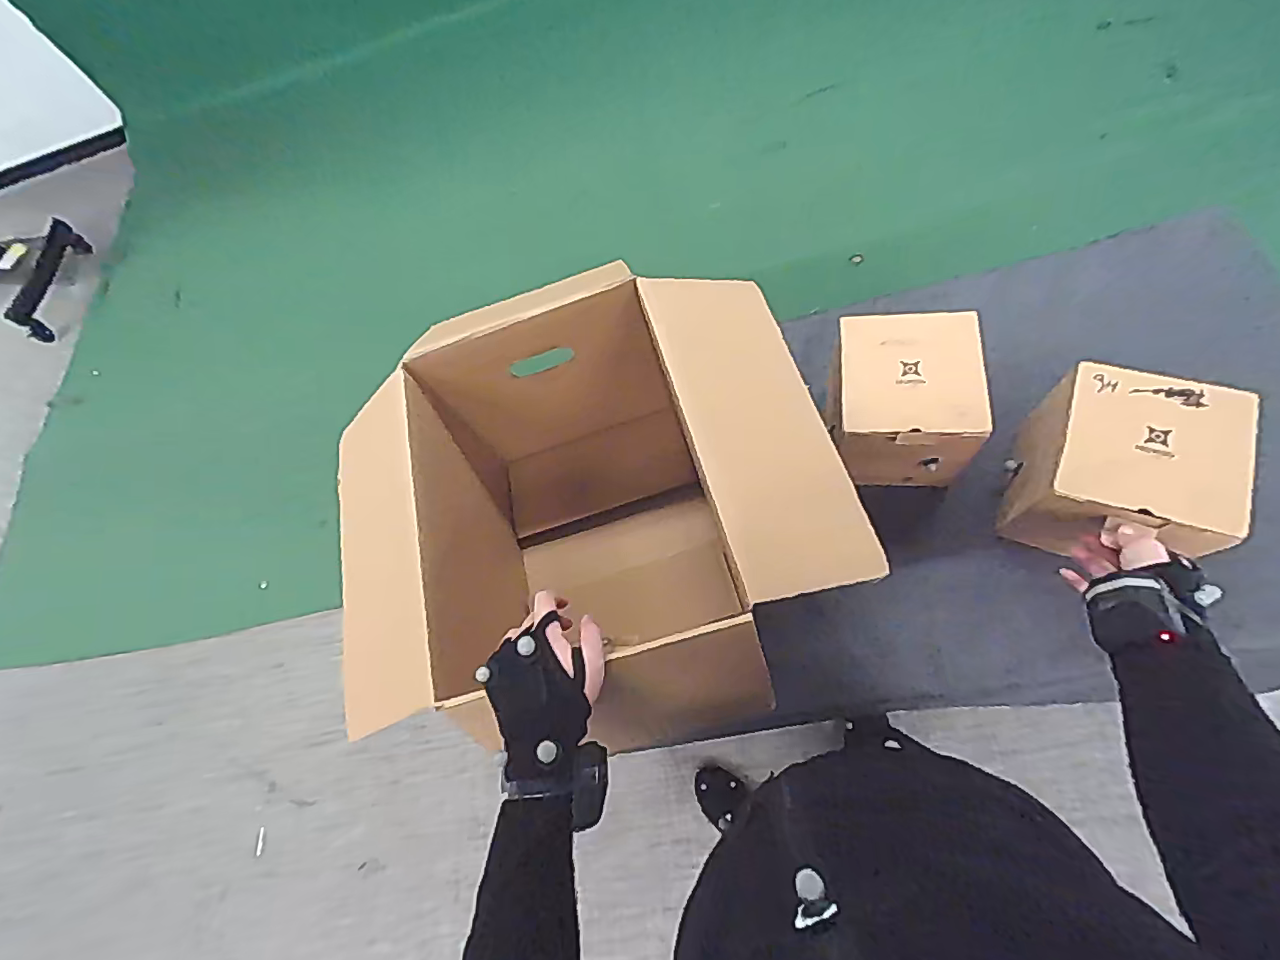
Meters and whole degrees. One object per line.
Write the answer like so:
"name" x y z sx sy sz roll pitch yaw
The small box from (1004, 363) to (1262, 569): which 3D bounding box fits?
"small box" 0.575 -0.009 0.657 0.168 0.176 0.179 20 75 20
